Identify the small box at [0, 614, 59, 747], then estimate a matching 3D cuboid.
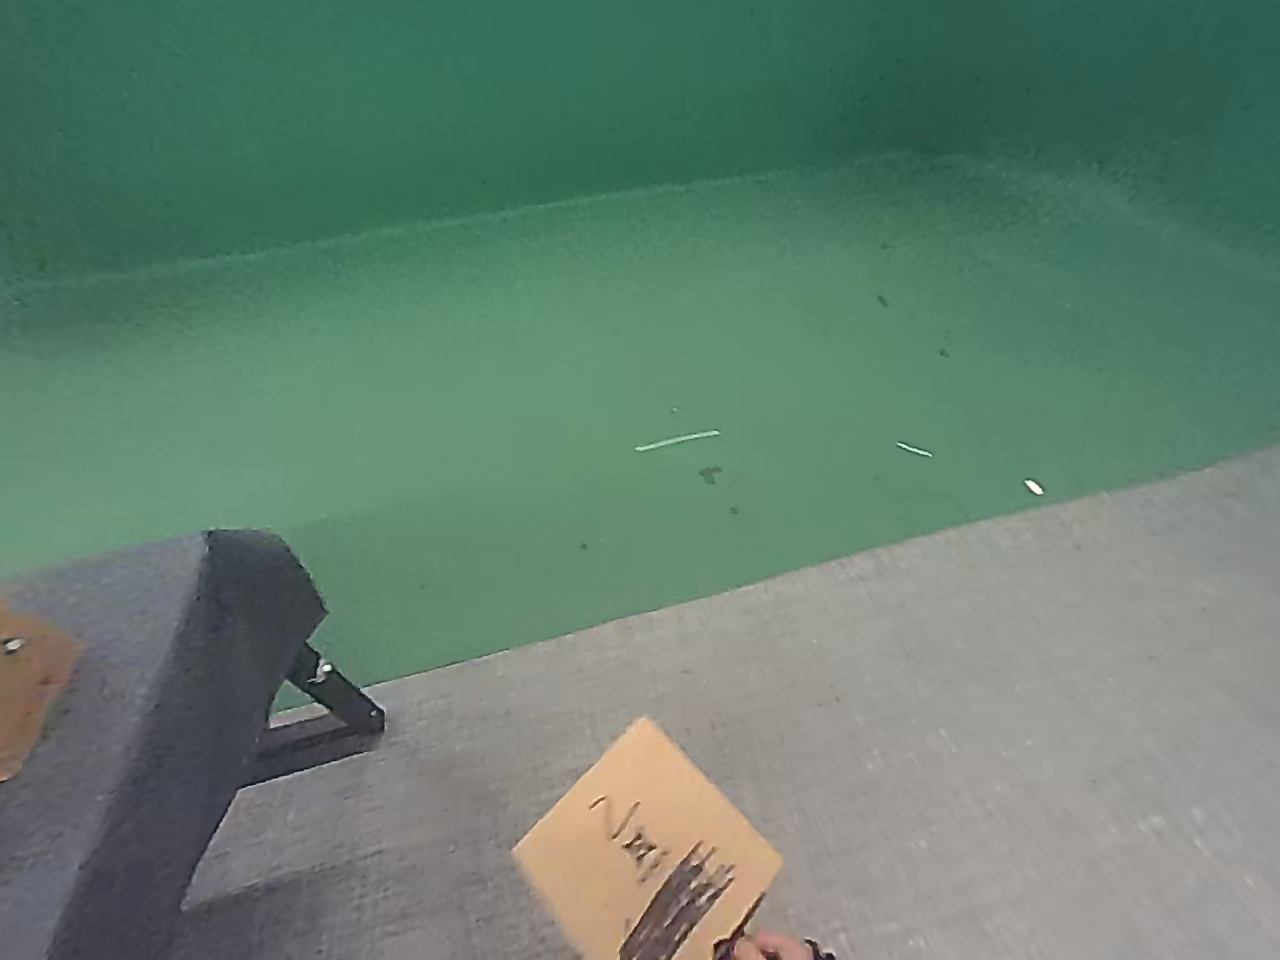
[{"bbox_3d":[-0.816,0.233,0.584,0.179,0.176,0.168,-13,46,-6],"label":"small box"}]
